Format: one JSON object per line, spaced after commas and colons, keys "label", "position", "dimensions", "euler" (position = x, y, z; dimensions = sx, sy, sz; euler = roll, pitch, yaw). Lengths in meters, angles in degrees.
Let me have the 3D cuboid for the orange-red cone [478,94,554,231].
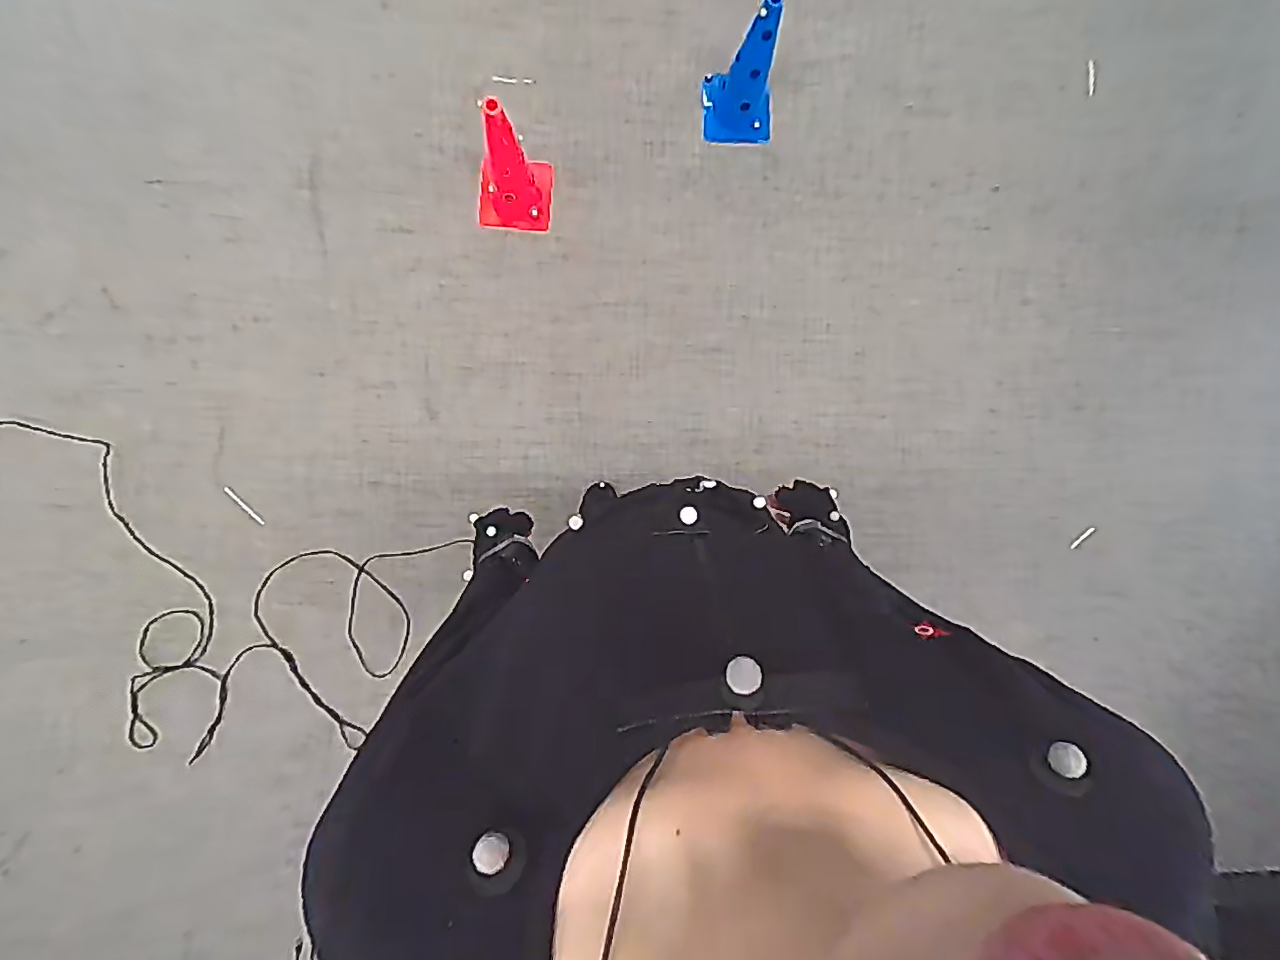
{"label": "orange-red cone", "position": [-0.330, -0.810, 1.340], "dimensions": [0.198, 0.360, 0.199], "euler": [5, 87, -5]}
